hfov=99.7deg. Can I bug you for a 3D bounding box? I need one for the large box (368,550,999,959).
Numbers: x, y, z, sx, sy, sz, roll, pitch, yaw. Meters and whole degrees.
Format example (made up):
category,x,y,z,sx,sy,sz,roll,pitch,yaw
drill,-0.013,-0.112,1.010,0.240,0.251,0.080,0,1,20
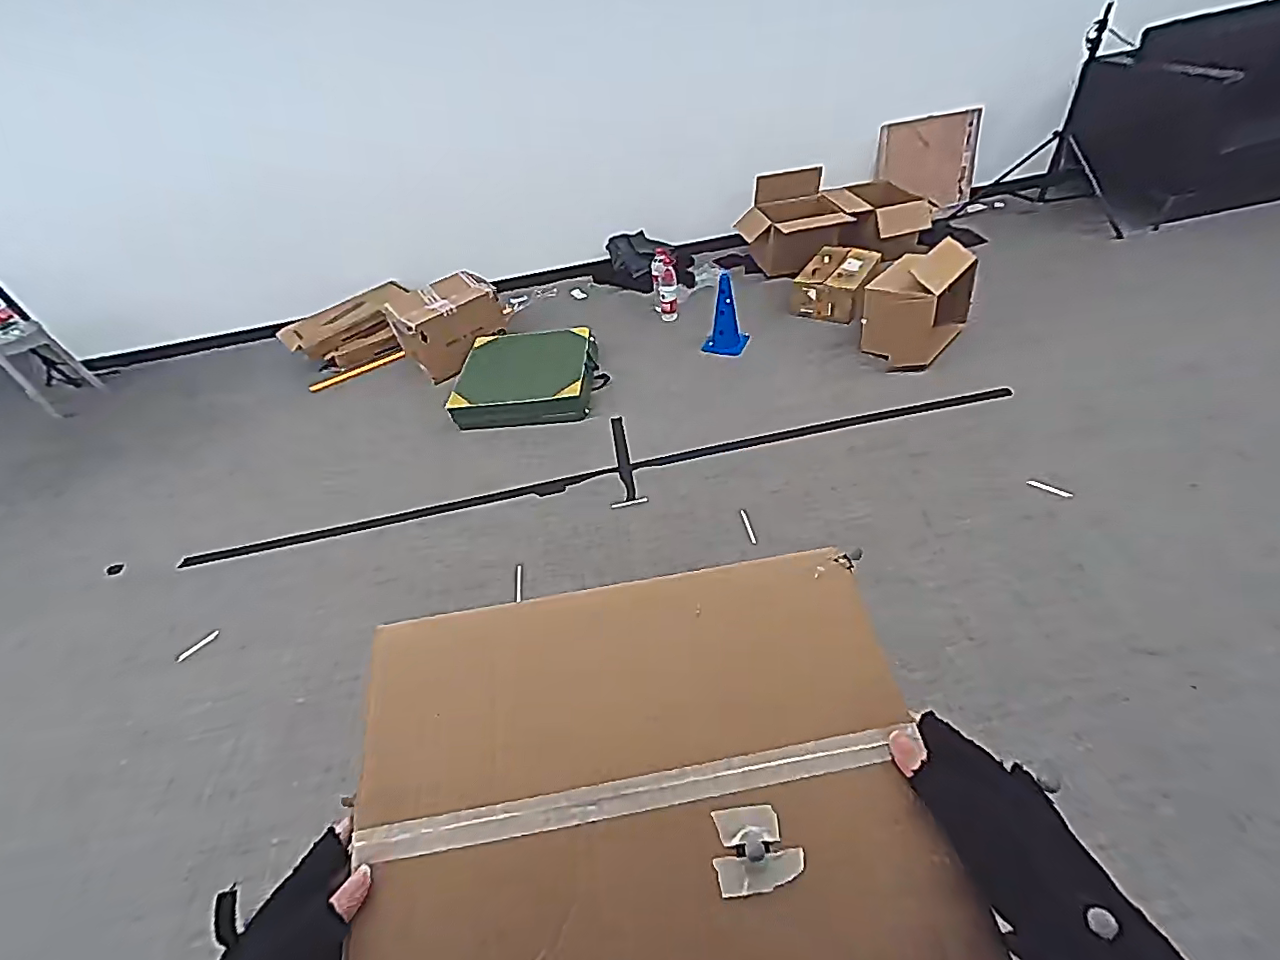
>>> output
category,x,y,z,sx,sy,sz,roll,pitch,yaw
large box,0.011,0.304,0.524,0.408,0.320,0.320,-9,58,-4
